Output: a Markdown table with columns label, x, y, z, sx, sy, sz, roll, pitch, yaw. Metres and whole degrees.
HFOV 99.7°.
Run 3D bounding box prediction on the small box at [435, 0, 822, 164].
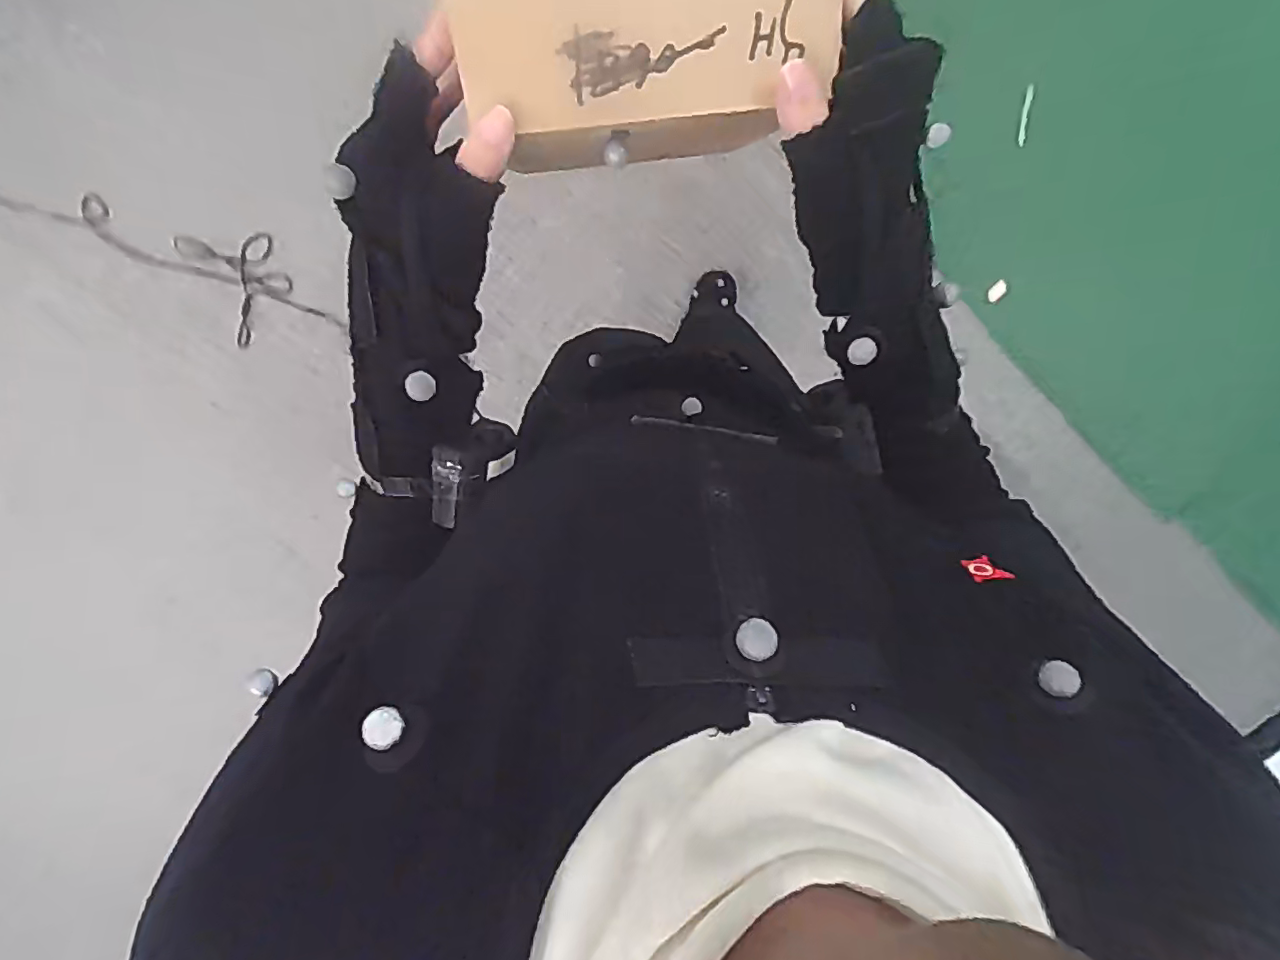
| label | x | y | z | sx | sy | sz | roll | pitch | yaw |
| --- | --- | --- | --- | --- | --- | --- | --- | --- | --- |
| small box | -0.017 | -0.281 | 0.278 | 0.168 | 0.176 | 0.179 | -8 | 114 | -2 |
